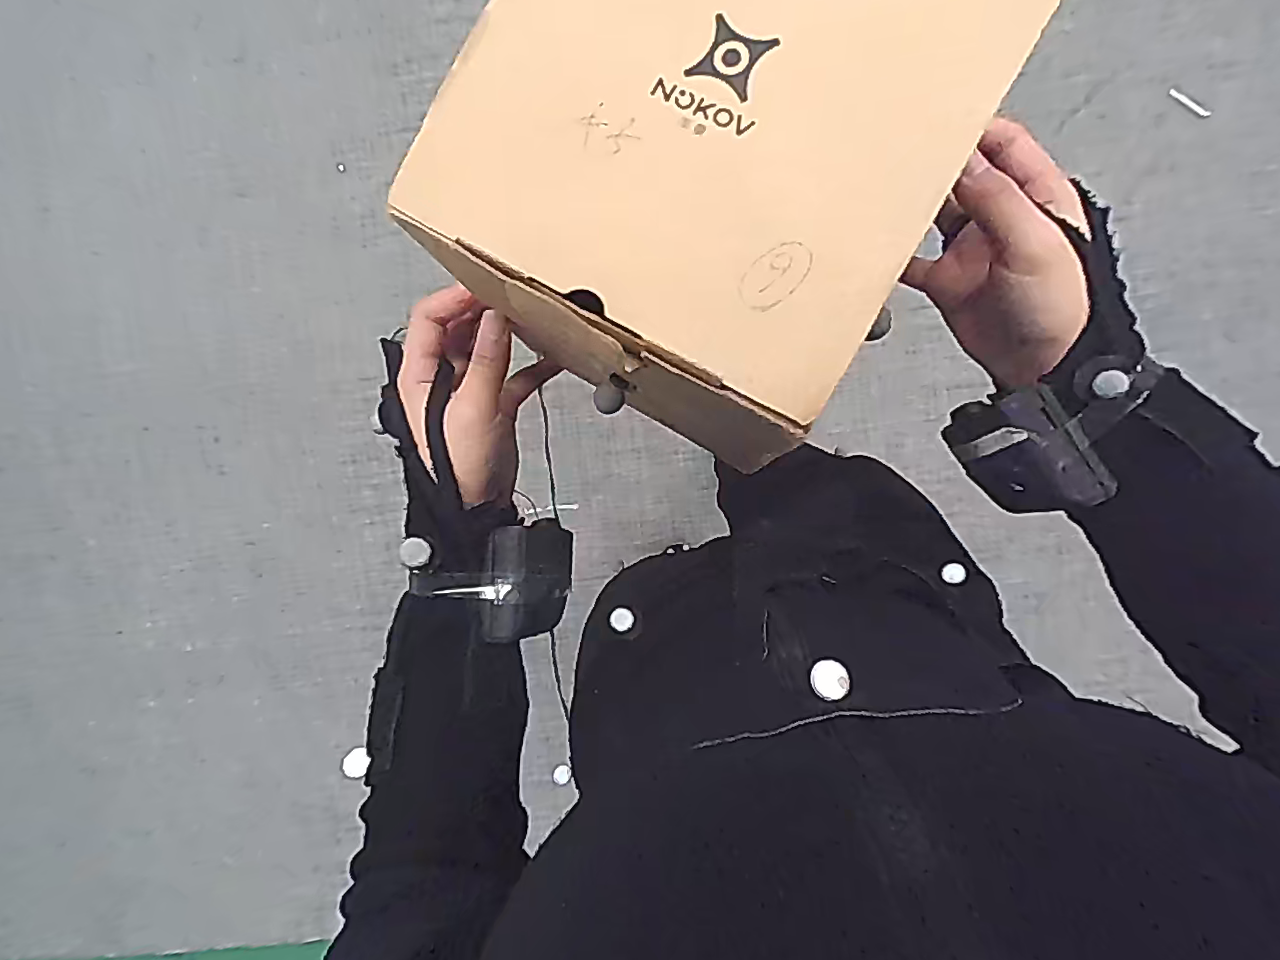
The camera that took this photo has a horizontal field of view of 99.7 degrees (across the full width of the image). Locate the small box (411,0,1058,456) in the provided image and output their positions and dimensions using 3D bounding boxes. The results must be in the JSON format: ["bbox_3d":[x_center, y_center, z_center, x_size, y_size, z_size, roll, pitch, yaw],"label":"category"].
[{"bbox_3d":[0.036,-0.125,0.265,0.168,0.176,0.179,30,91,7],"label":"small box"}]
